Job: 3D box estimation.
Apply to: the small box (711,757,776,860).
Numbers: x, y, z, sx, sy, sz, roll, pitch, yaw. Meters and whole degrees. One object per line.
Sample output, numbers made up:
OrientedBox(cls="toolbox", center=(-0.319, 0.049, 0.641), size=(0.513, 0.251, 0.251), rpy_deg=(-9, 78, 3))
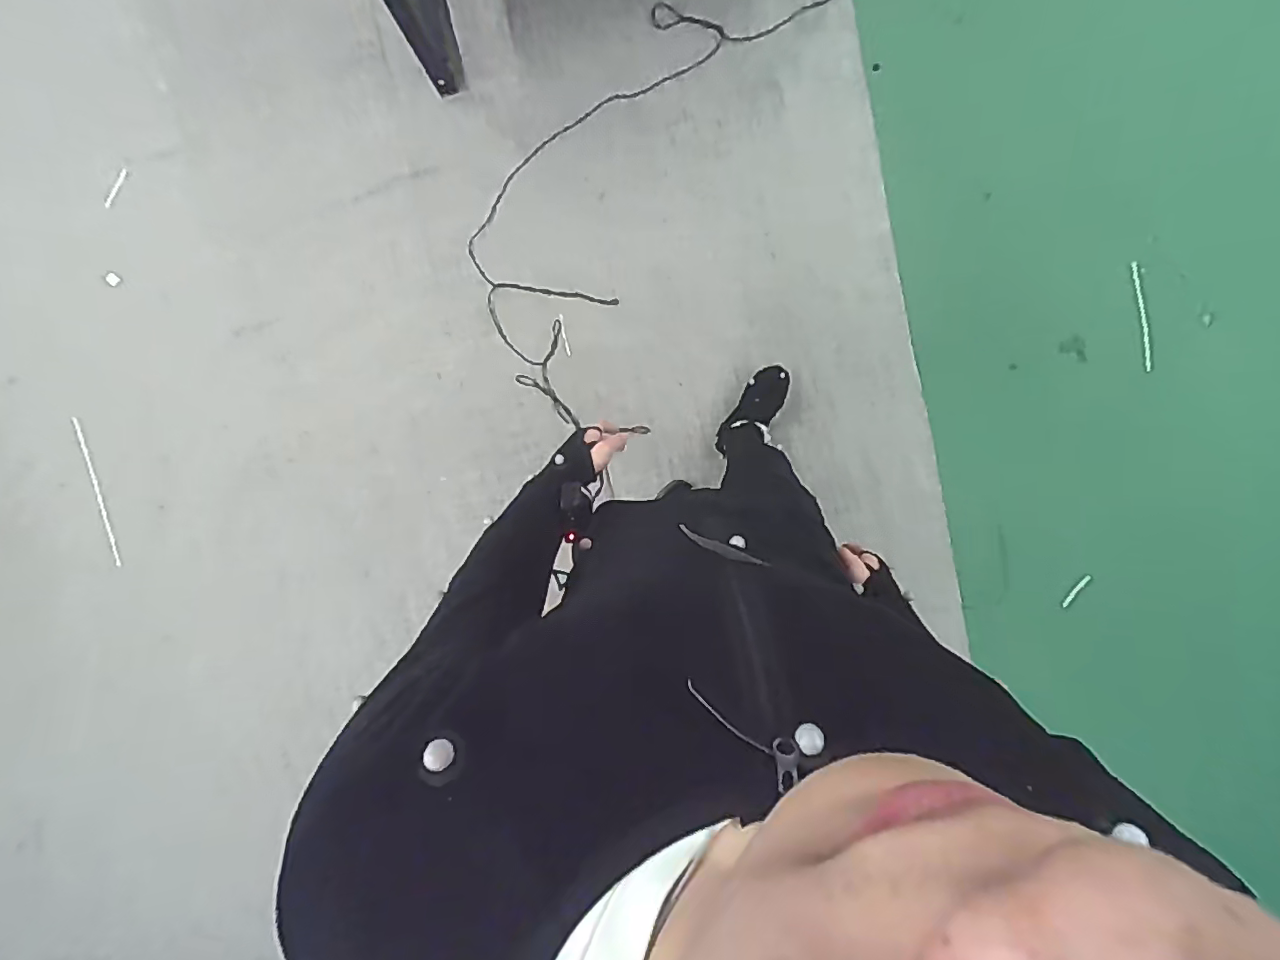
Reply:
OrientedBox(cls="small box", center=(0.315, 0.955, 1.580), size=(0.168, 0.176, 0.179), rpy_deg=(-19, 94, 3))
